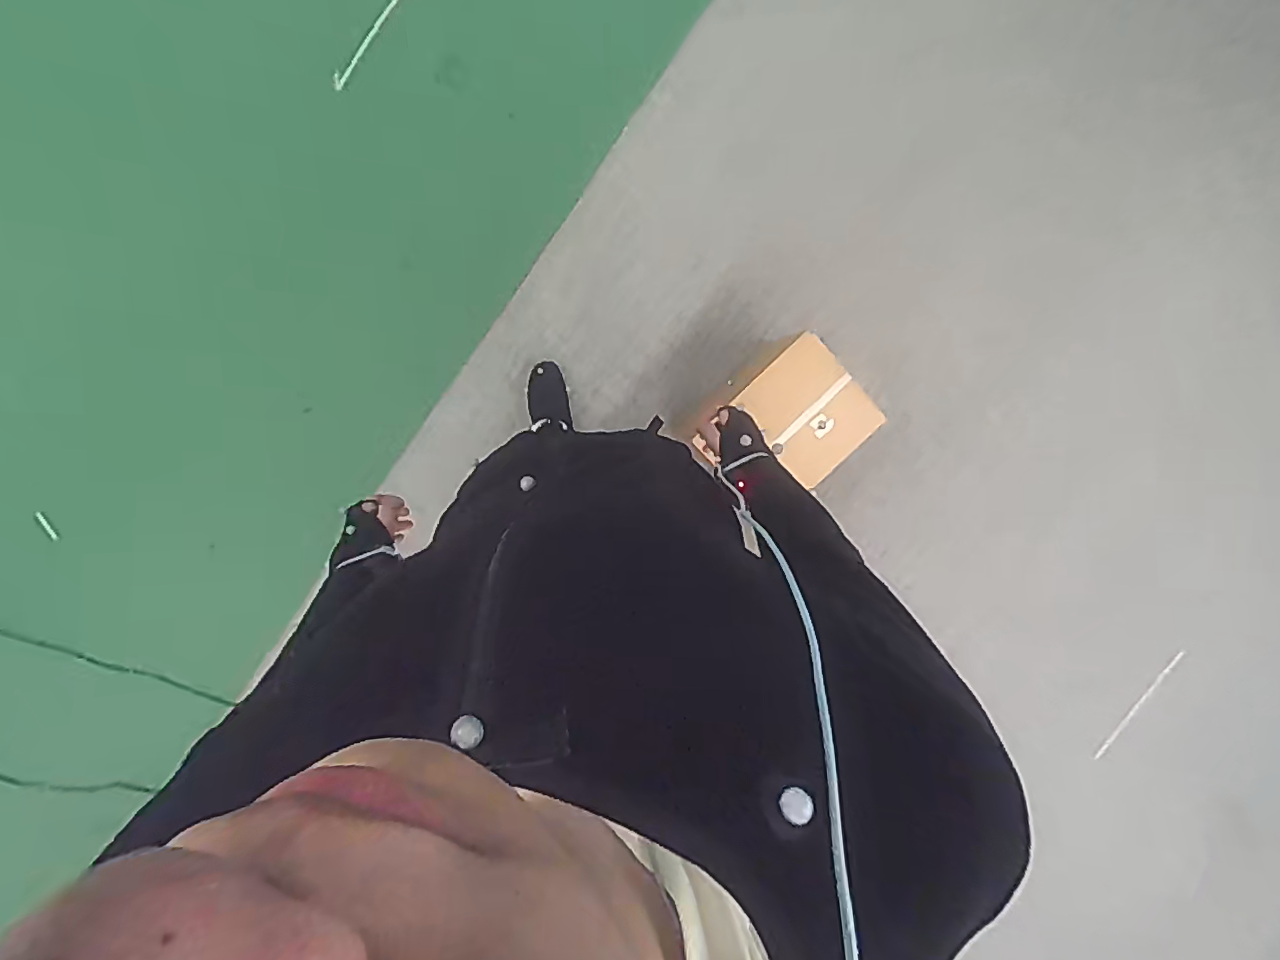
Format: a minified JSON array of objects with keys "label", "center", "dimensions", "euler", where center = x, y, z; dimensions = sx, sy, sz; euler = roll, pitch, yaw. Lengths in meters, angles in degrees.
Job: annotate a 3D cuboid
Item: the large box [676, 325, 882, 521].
[{"label":"large box","center":[0.358,-0.152,1.495],"dimensions":[0.408,0.320,0.320],"euler":[-44,99,2]}]
